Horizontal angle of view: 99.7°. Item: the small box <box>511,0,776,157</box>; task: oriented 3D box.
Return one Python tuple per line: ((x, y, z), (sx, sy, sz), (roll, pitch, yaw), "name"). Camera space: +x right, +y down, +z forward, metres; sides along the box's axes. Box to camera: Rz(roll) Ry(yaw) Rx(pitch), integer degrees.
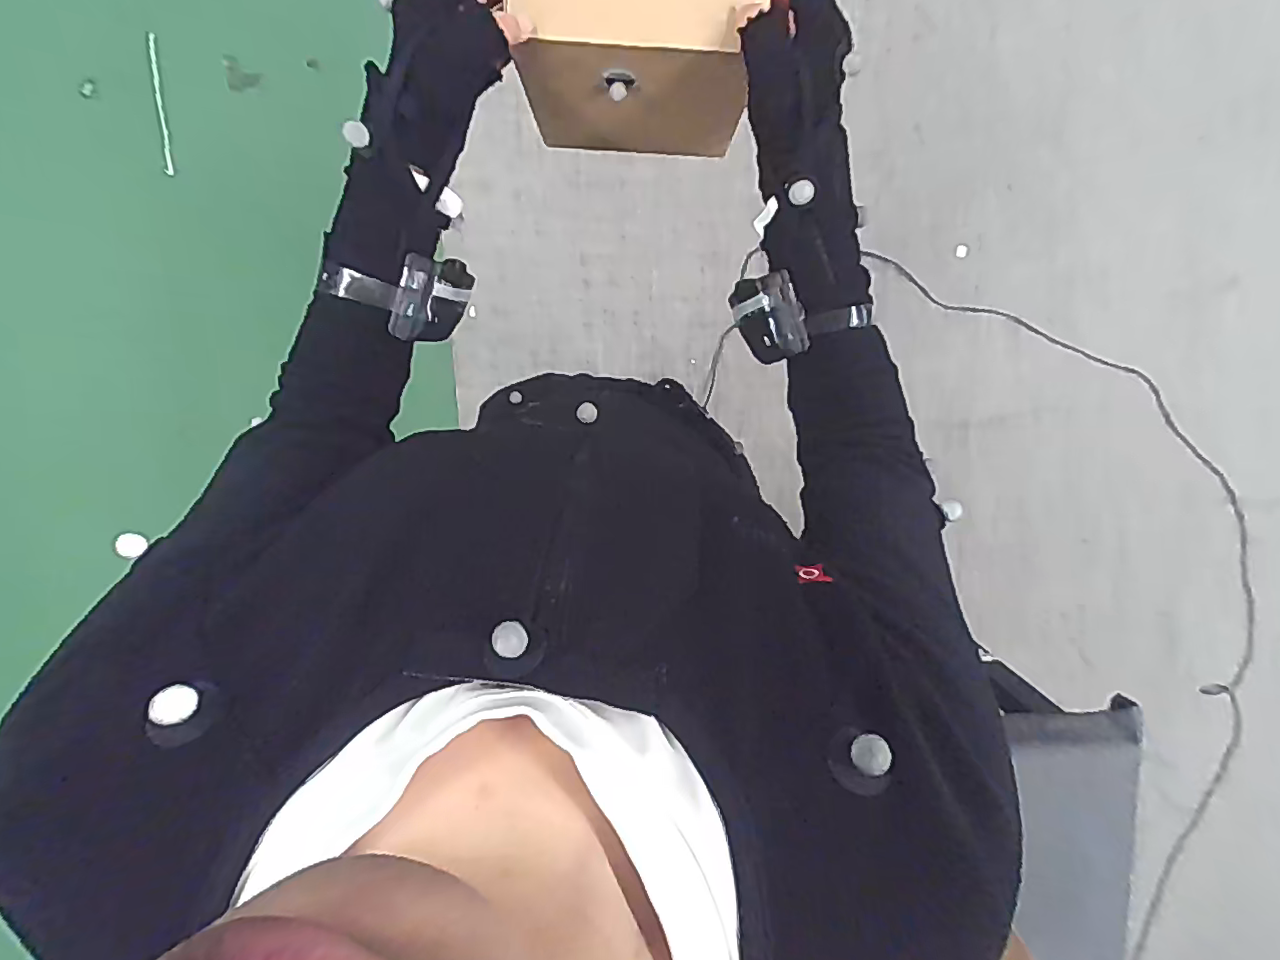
((0.004, -0.378, 0.425), (0.179, 0.176, 0.168), (3, 100, -2), "small box")
